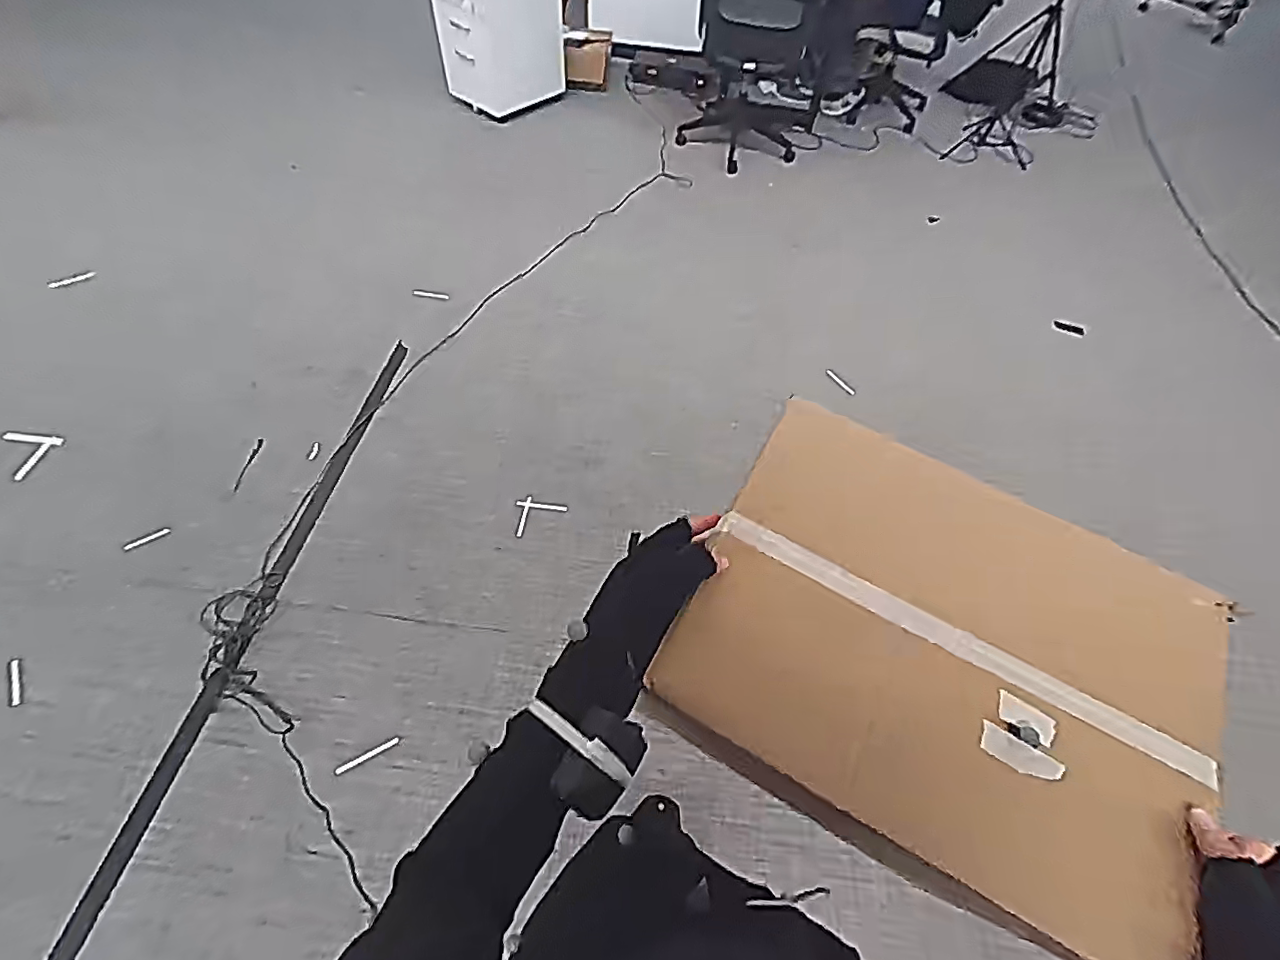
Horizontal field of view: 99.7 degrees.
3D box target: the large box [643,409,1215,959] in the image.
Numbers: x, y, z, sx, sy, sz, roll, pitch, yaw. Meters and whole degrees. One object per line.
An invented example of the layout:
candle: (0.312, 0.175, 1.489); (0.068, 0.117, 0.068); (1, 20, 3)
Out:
large box: (0.252, 0.196, 0.587); (0.408, 0.320, 0.320); (29, 68, 10)
